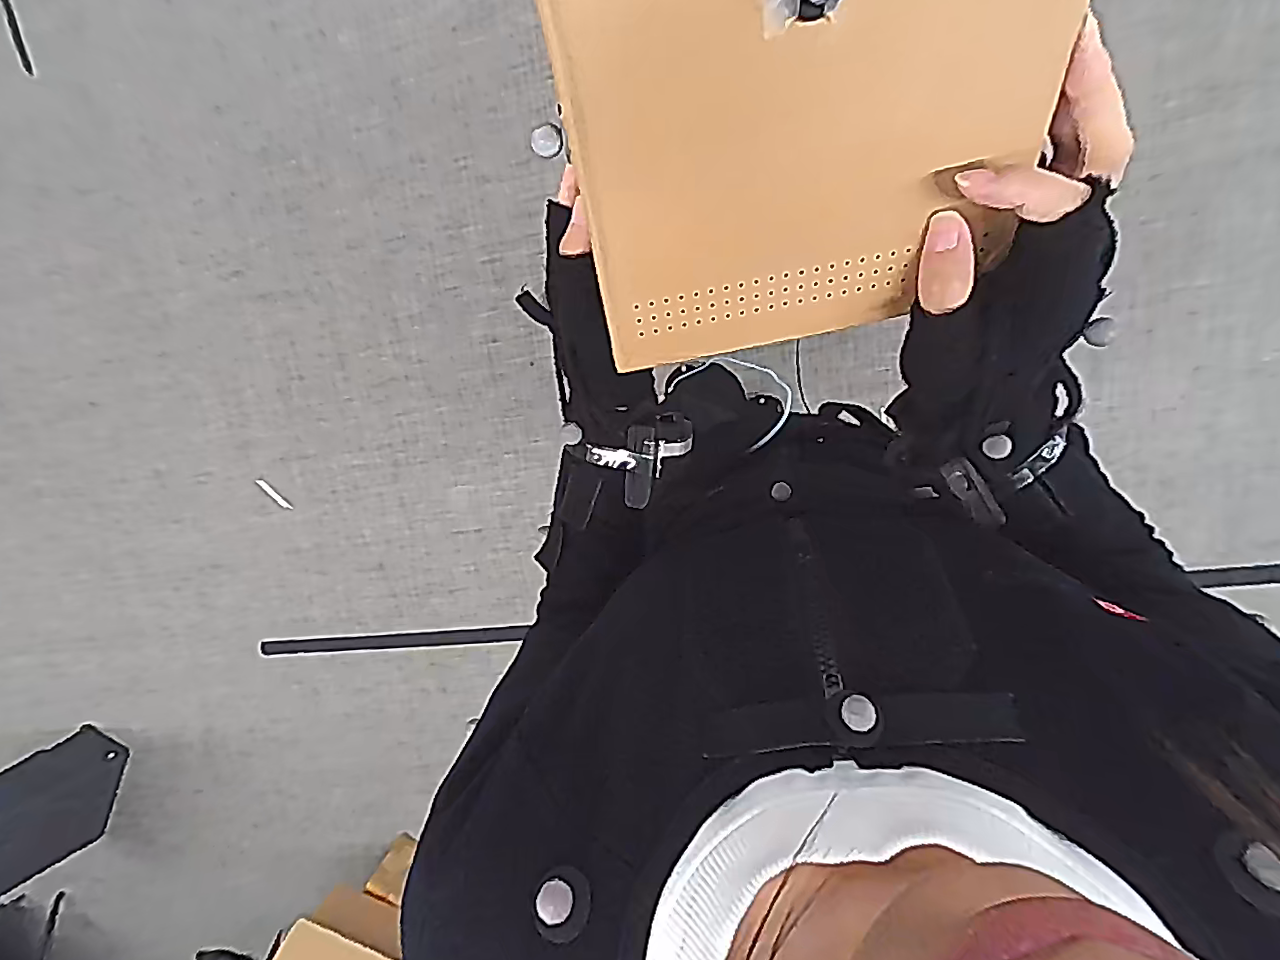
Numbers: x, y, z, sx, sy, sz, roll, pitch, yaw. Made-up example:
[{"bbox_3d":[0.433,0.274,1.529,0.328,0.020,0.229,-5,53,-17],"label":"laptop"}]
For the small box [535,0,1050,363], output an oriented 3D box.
[{"bbox_3d":[0.055,-0.175,0.253,0.179,0.168,0.176,-11,134,2],"label":"small box"}]
